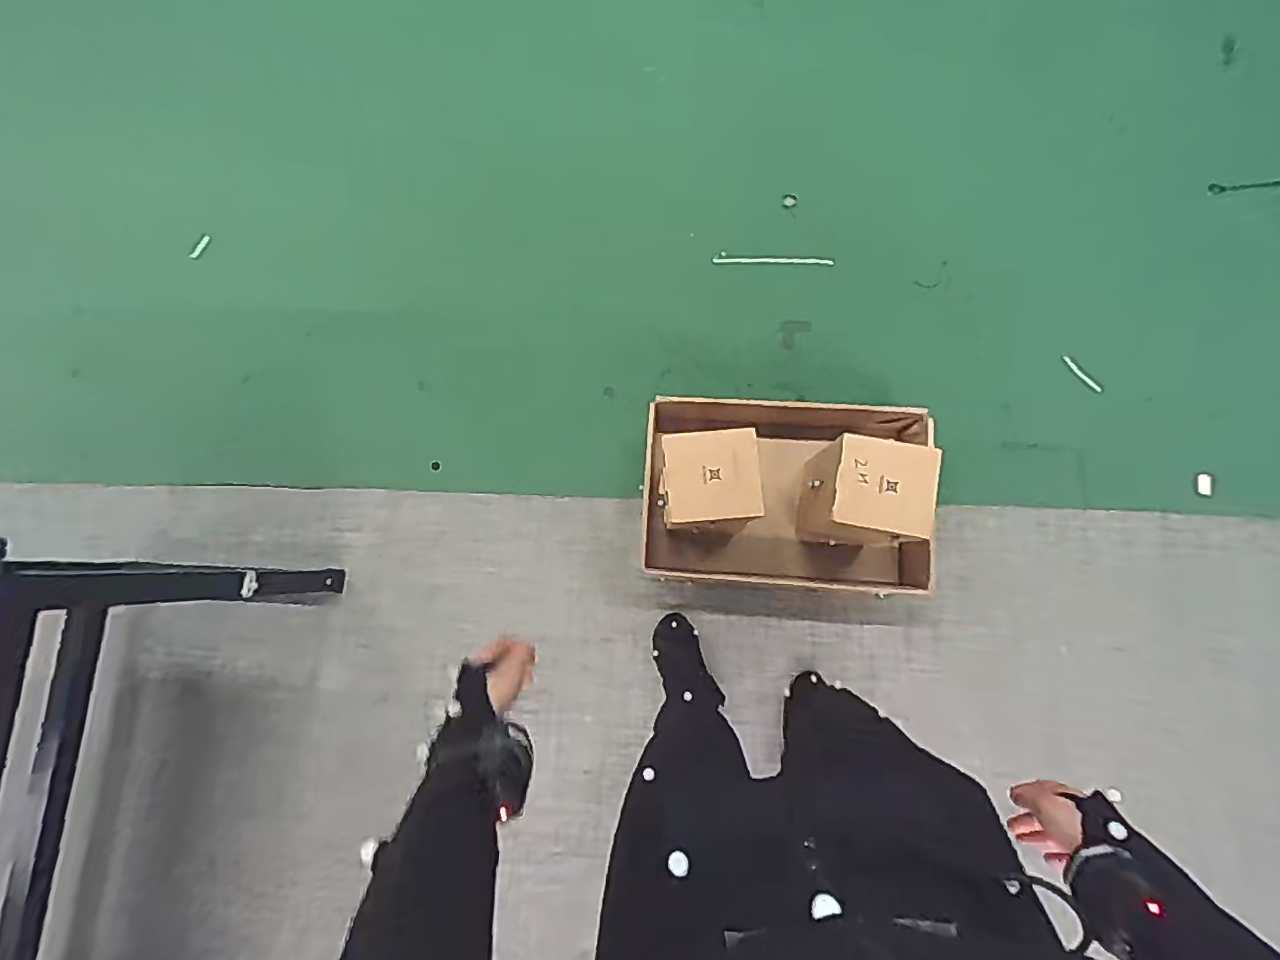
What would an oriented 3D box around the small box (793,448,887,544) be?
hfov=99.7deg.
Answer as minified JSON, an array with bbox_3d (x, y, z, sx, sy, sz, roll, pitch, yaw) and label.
[{"bbox_3d":[0.449,0.042,1.207,0.168,0.176,0.179,10,83,5],"label":"small box"}]

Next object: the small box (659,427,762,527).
[{"bbox_3d":[0.129,0.000,1.059,0.179,0.176,0.168,-5,82,0],"label":"small box"}]

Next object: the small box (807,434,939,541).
[{"bbox_3d":[0.441,0.022,1.043,0.179,0.176,0.168,11,82,5],"label":"small box"}]
